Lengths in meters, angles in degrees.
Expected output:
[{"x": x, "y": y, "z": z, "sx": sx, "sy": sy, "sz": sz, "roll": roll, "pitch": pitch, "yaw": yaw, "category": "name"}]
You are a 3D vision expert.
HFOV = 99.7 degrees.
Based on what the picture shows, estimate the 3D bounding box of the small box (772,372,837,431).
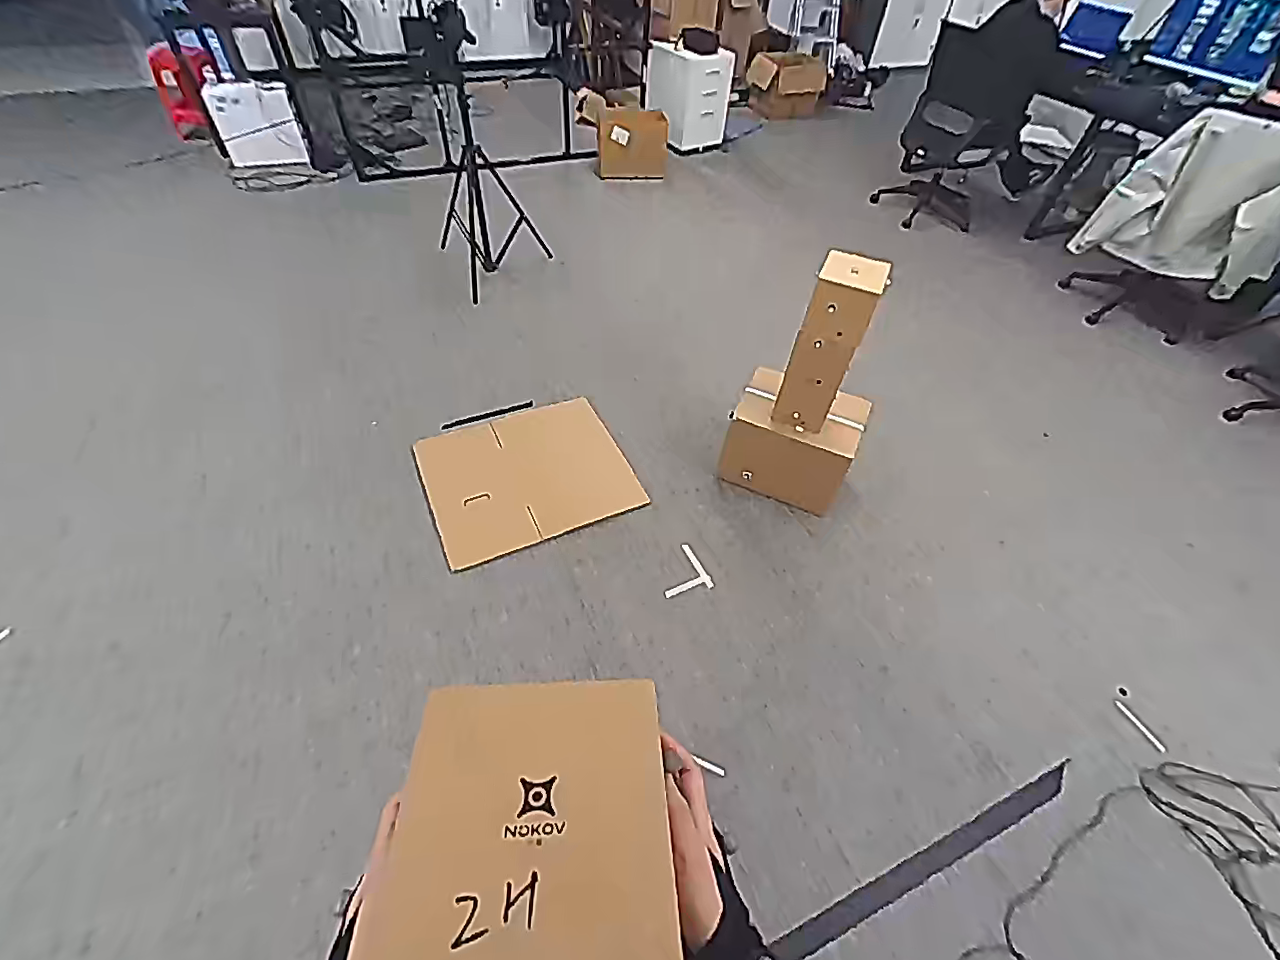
[{"x": 0.536, "y": -0.290, "z": 1.737, "sx": 0.168, "sy": 0.176, "sz": 0.179, "roll": 21, "pitch": 52, "yaw": 13, "category": "small box"}]

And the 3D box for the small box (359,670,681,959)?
[{"x": -0.068, "y": 0.260, "z": 0.383, "sx": 0.168, "sy": 0.176, "sz": 0.179, "roll": -1, "pitch": 39, "yaw": -4, "category": "small box"}]

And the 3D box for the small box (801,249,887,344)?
[{"x": 0.557, "y": -0.502, "z": 1.488, "sx": 0.168, "sy": 0.176, "sz": 0.179, "roll": 20, "pitch": 51, "yaw": 13, "category": "small box"}]

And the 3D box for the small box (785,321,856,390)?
[{"x": 0.547, "y": -0.399, "z": 1.614, "sx": 0.168, "sy": 0.176, "sz": 0.179, "roll": 20, "pitch": 50, "yaw": 14, "category": "small box"}]
